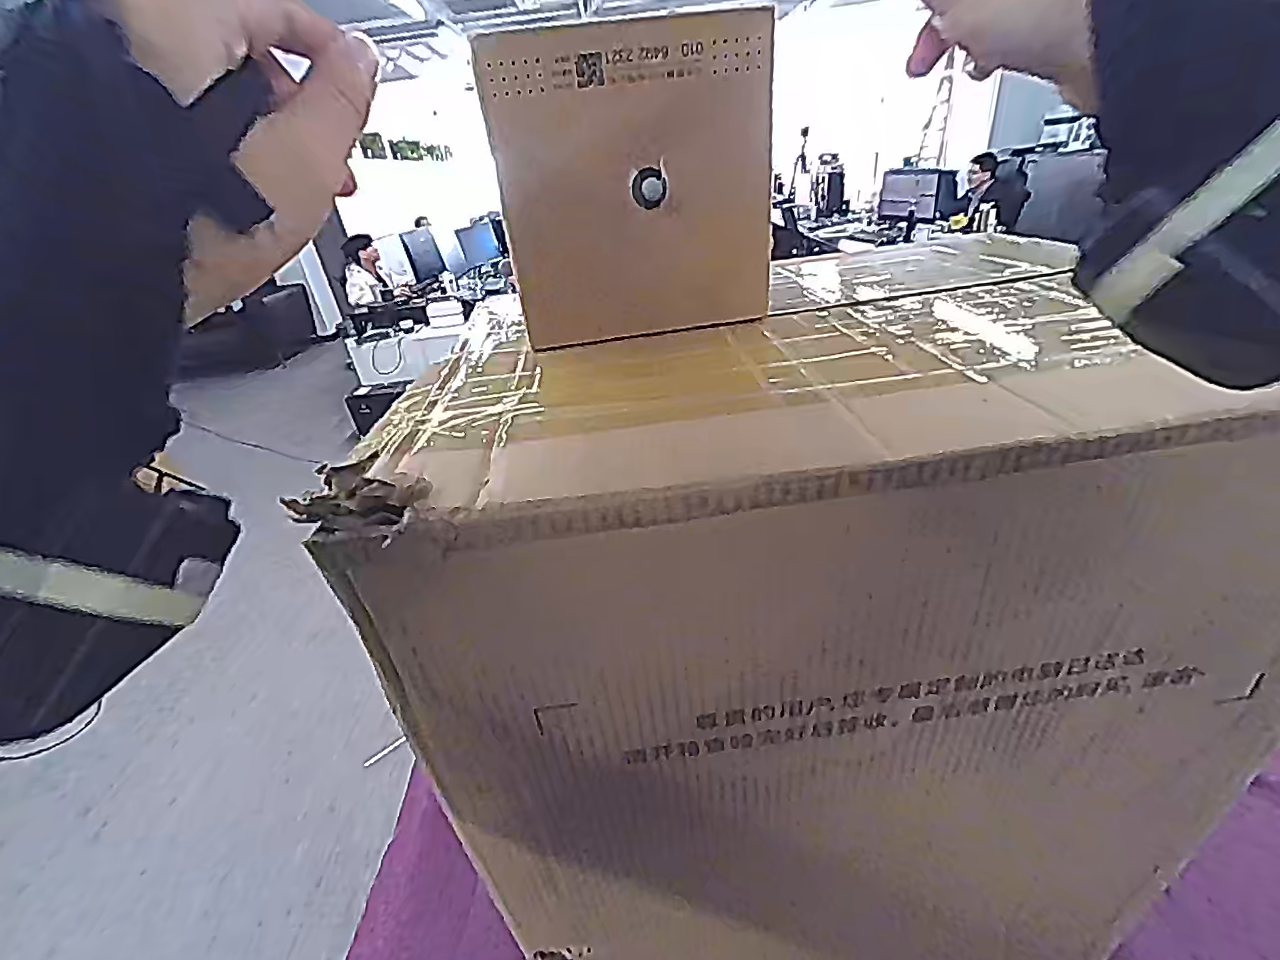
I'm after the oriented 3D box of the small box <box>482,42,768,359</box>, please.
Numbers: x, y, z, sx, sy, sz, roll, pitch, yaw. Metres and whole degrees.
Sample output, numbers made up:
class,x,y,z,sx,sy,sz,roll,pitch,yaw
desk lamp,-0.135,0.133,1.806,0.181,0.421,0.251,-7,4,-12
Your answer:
class,x,y,z,sx,sy,sz,roll,pitch,yaw
small box,-0.012,-0.206,0.402,0.168,0.176,0.179,-9,31,-5
